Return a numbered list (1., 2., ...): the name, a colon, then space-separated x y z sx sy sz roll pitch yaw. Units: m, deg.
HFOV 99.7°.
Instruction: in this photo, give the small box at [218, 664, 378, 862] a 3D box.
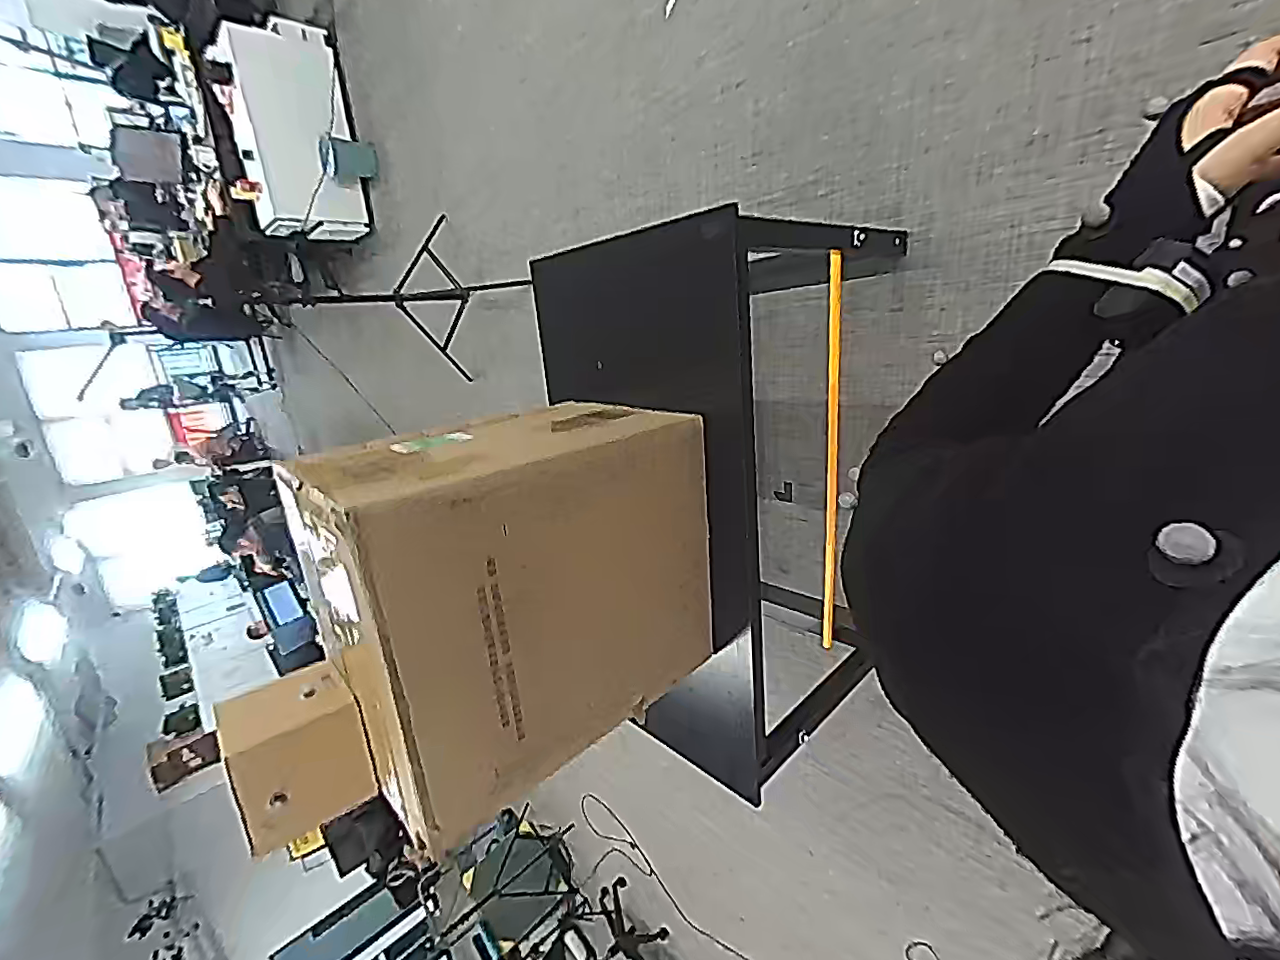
1. small box: -0.527 0.425 0.843 0.168 0.176 0.179 12 112 47
